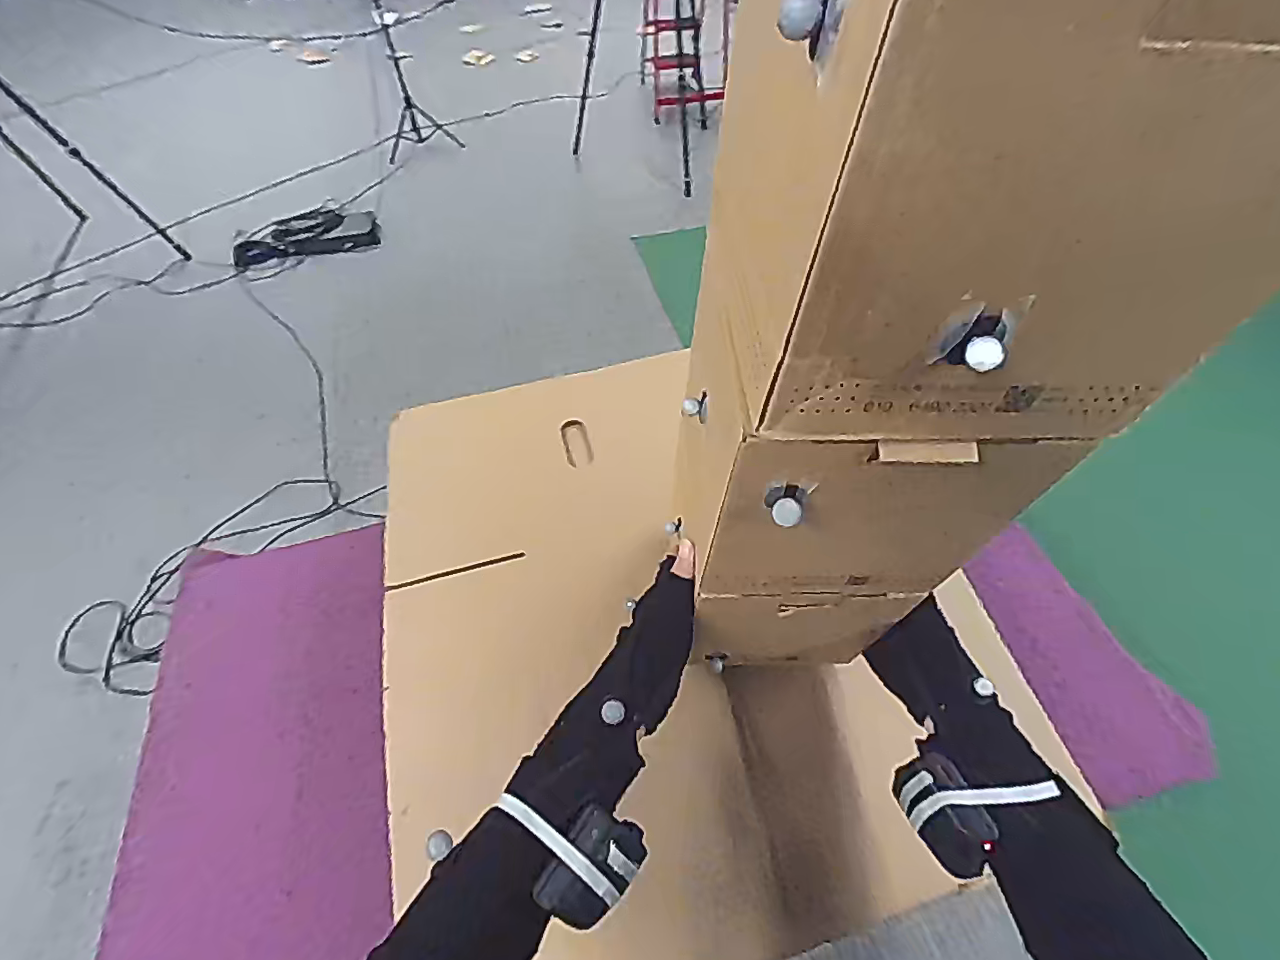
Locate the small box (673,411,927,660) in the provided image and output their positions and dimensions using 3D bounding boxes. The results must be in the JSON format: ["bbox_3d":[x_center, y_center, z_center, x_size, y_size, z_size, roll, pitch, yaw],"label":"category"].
[{"bbox_3d":[0.119,0.057,0.490,0.168,0.176,0.179,0,55,-2],"label":"small box"}]

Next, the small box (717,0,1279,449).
[{"bbox_3d":[0.132,-0.132,0.223,0.168,0.176,0.179,-1,55,-3],"label":"small box"}]
